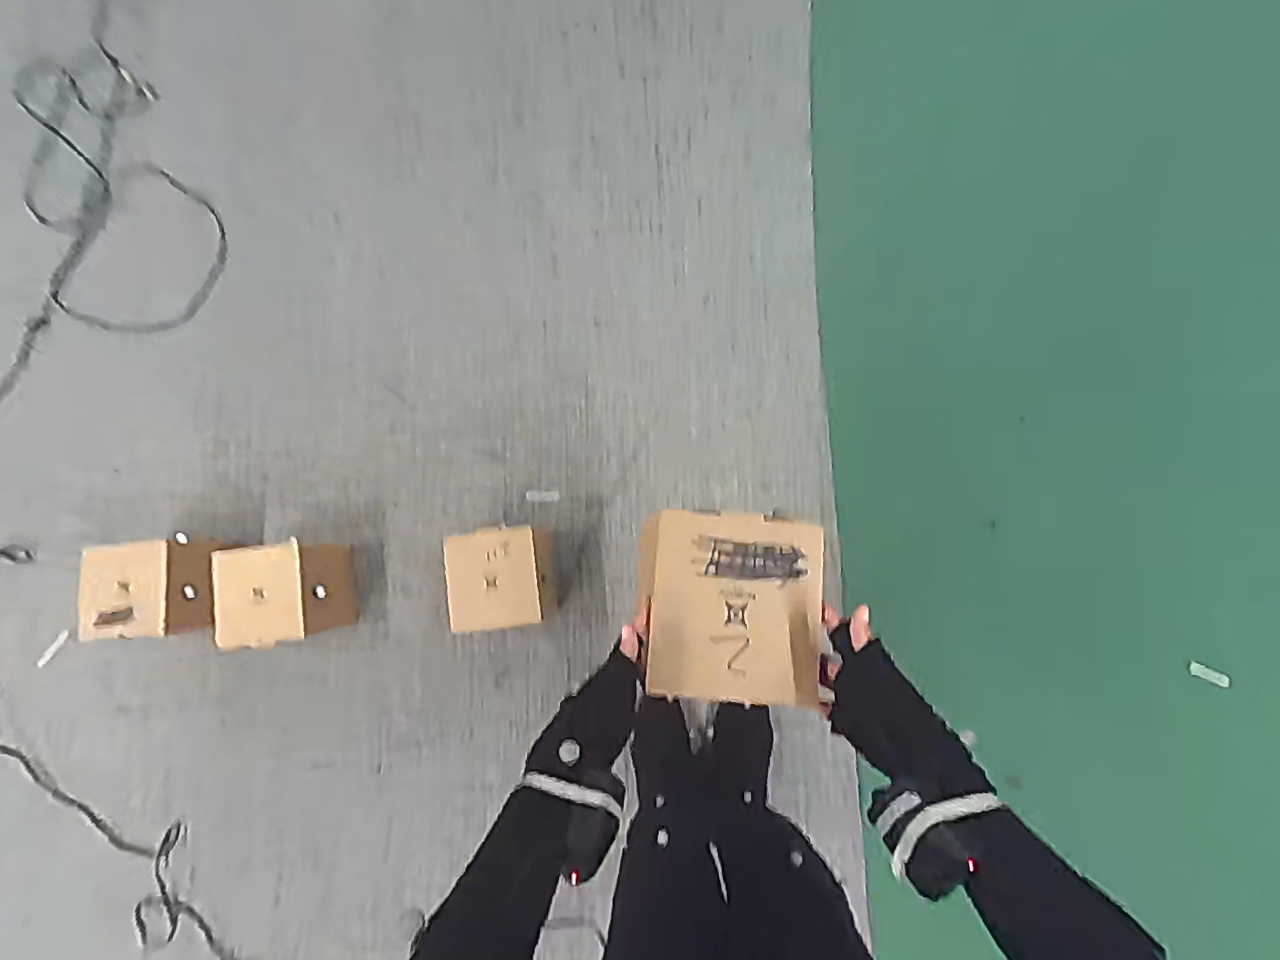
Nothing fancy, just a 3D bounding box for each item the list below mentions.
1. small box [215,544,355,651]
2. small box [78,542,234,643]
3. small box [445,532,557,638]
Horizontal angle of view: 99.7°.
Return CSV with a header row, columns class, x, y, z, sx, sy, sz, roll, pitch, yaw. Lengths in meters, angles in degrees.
class,x,y,z,sx,sy,sz,roll,pitch,yaw
small box,-0.686,0.223,1.059,0.168,0.176,0.179,-8,84,2
small box,-0.942,0.215,1.068,0.168,0.176,0.179,-5,82,2
small box,-0.261,0.195,1.045,0.168,0.176,0.179,-7,83,0
